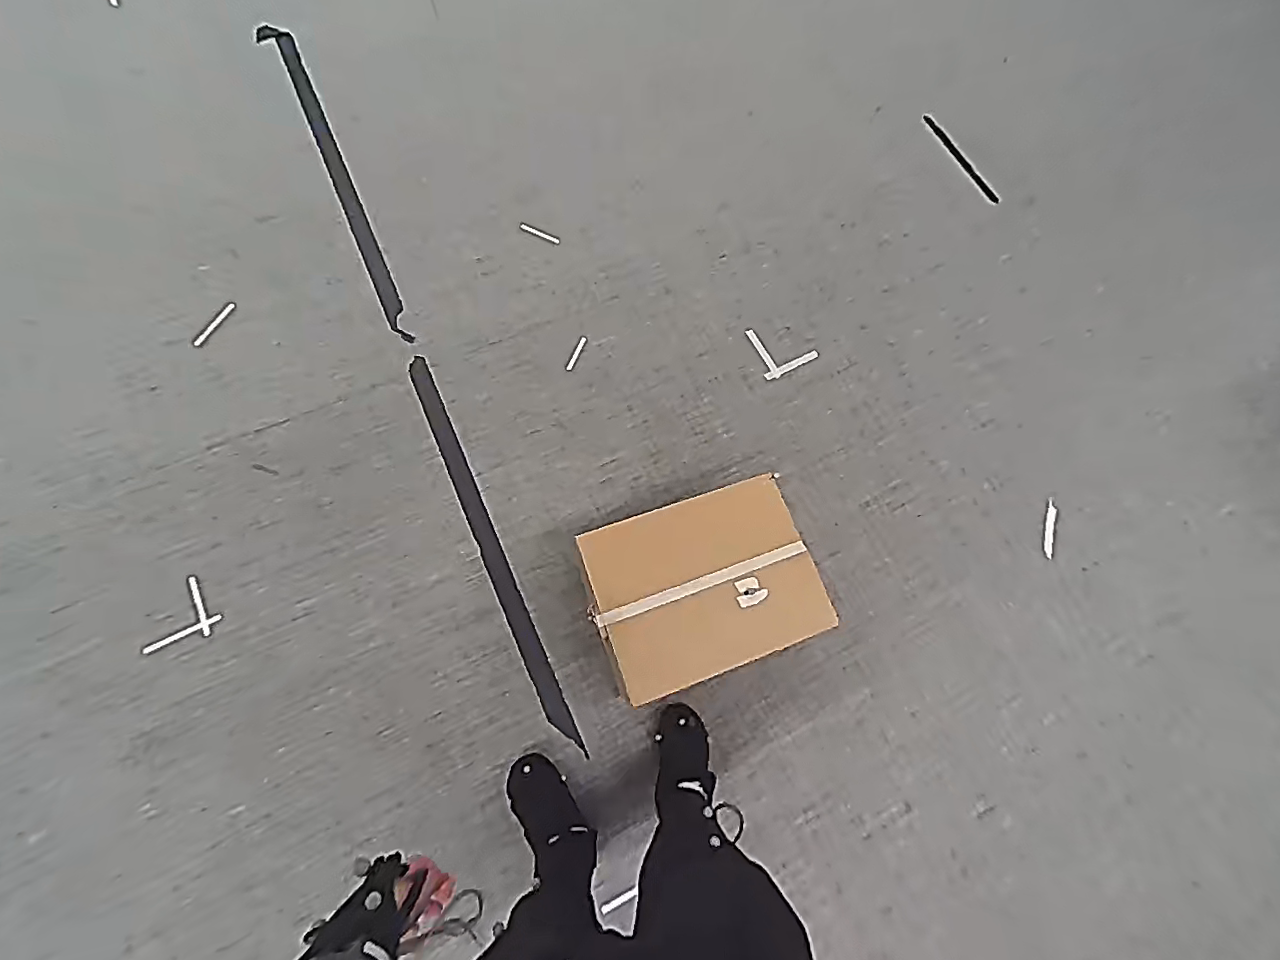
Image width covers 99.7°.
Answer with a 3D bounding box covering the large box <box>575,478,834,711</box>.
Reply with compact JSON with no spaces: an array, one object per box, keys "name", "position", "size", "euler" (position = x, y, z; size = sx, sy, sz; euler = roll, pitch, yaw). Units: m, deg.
[{"name":"large box","position":[0.103,0.240,1.121],"size":[0.408,0.320,0.320],"euler":[-18,75,-12]}]
